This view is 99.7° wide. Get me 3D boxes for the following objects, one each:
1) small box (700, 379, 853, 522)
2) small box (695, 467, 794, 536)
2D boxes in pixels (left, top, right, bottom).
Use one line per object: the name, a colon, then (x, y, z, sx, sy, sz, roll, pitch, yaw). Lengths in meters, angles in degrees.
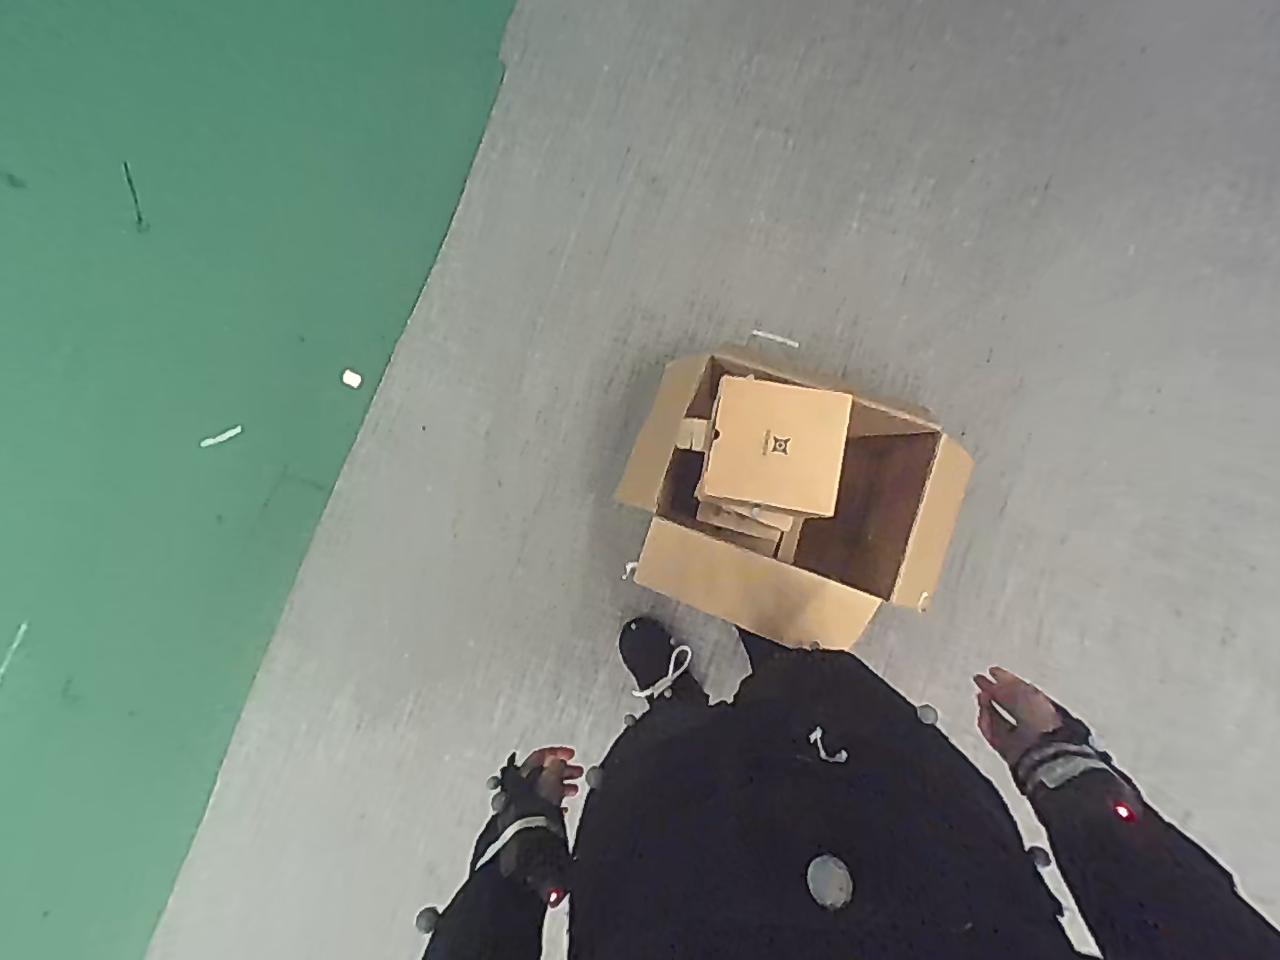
small box: (0.189, -0.036, 0.796, 0.179, 0.176, 0.168, 11, 86, 6)
small box: (0.201, -0.015, 0.957, 0.168, 0.176, 0.179, 23, 89, 6)
